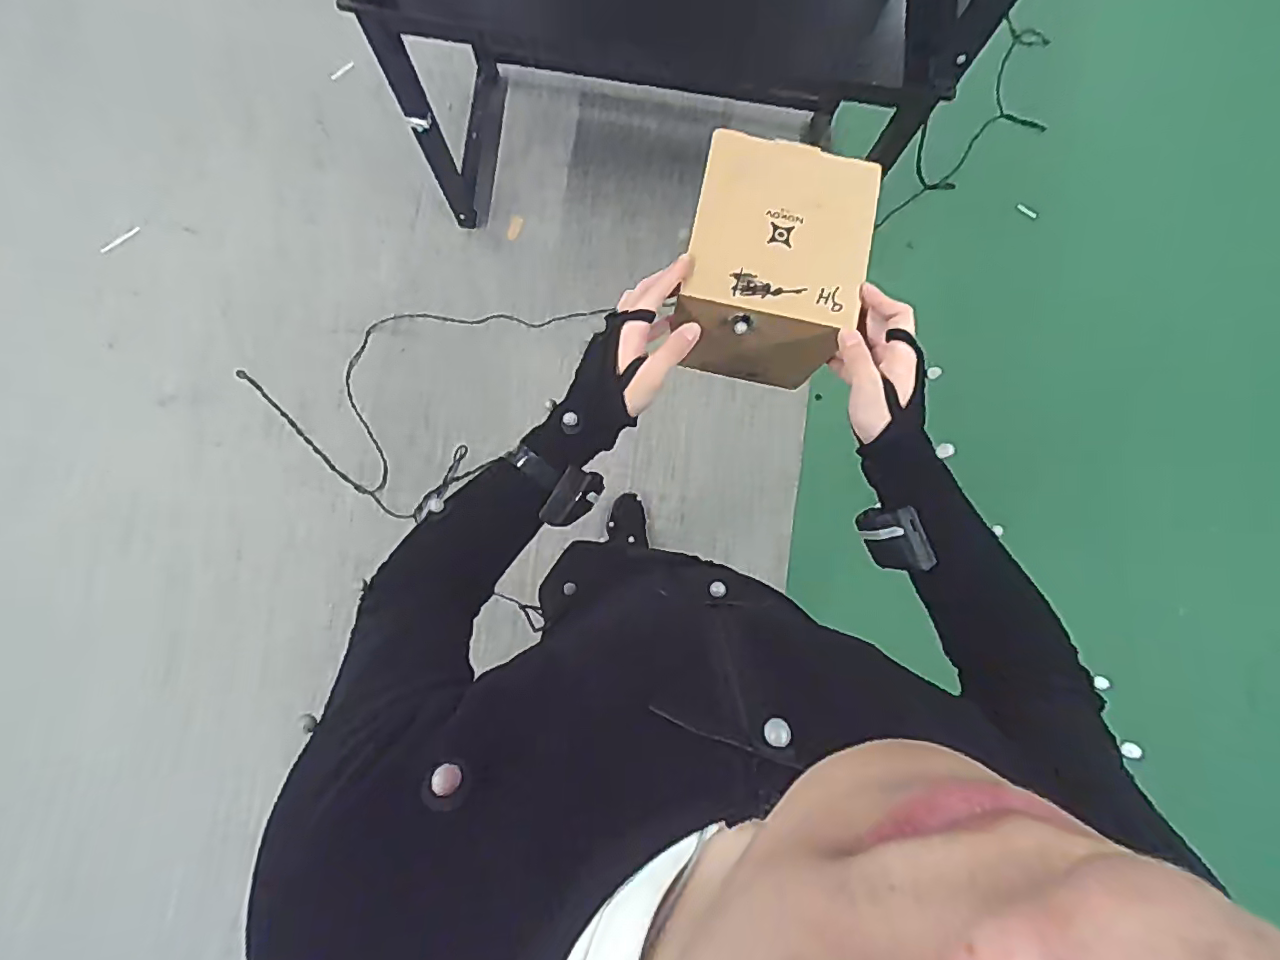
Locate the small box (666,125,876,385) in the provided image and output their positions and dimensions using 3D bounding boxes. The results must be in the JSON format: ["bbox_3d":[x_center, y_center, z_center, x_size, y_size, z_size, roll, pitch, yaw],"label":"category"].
[{"bbox_3d":[0.125,-0.224,0.578,0.168,0.176,0.179,13,80,1],"label":"small box"}]
